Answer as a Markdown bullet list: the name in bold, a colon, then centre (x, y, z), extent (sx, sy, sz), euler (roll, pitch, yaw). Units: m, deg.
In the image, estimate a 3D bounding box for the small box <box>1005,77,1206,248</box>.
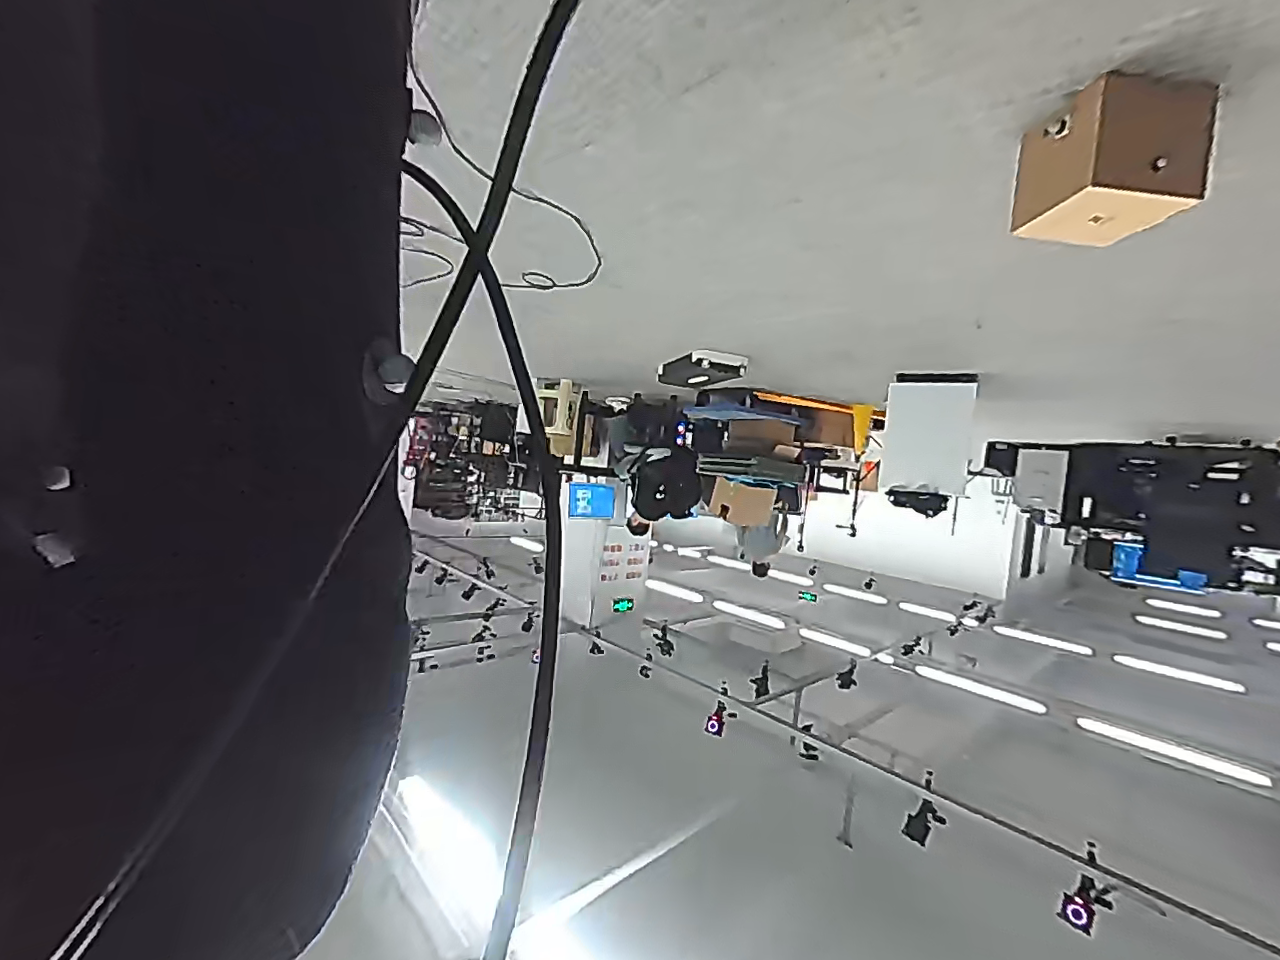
- **small box**: centre (0.726, -0.491, 0.853), extent (0.179, 0.176, 0.168), euler (7, -179, -2)
